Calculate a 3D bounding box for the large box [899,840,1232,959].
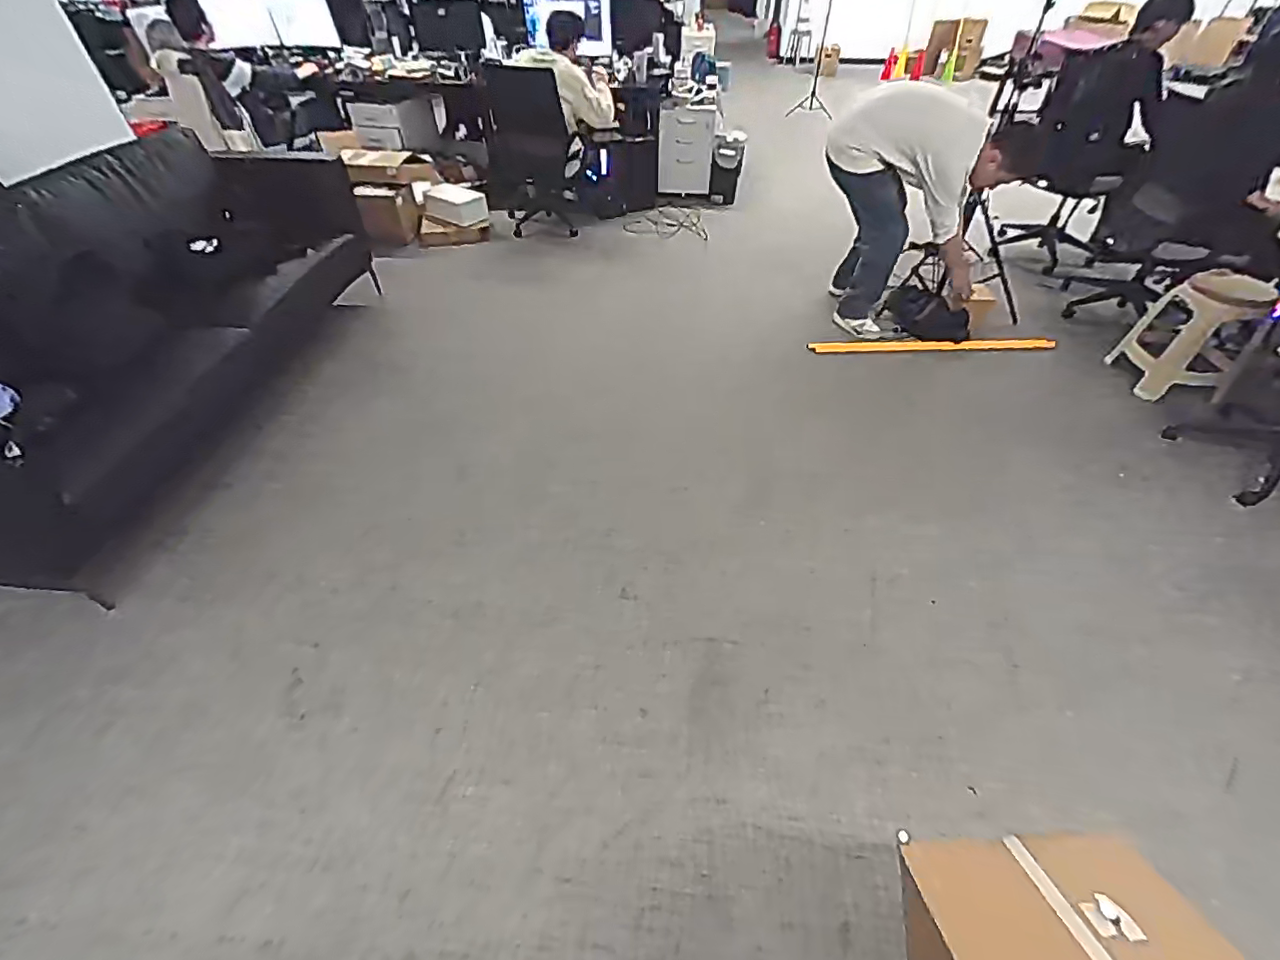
[{"bbox_3d":[0.549,0.719,0.628,0.320,0.320,0.408,-6,6,5],"label":"large box"}]
